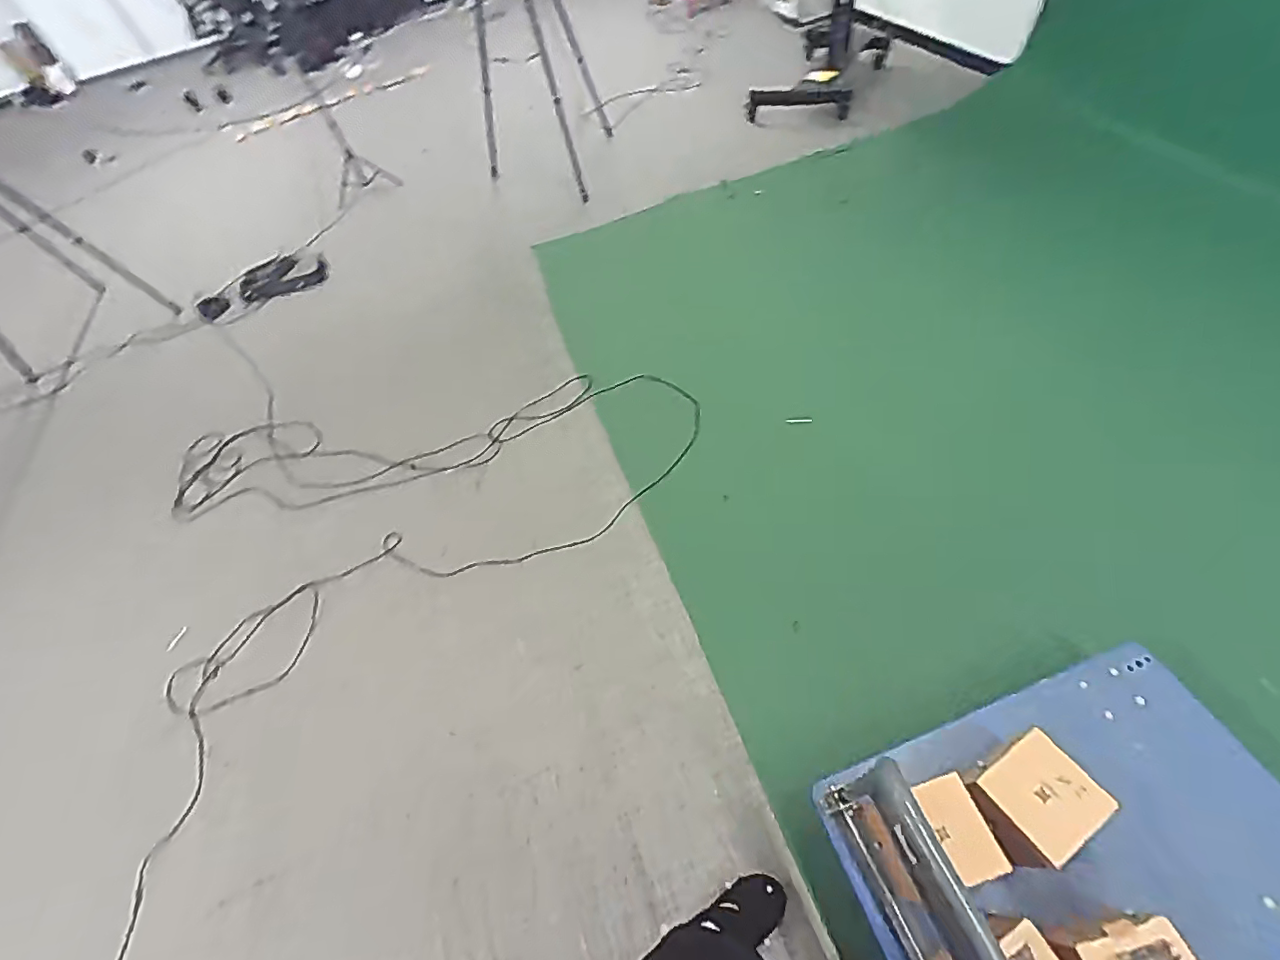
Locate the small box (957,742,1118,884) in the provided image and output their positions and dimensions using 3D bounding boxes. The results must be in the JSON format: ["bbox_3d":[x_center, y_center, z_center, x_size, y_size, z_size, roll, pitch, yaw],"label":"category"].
[{"bbox_3d":[0.757,0.653,1.058,0.179,0.176,0.168,-31,55,-13],"label":"small box"}]
